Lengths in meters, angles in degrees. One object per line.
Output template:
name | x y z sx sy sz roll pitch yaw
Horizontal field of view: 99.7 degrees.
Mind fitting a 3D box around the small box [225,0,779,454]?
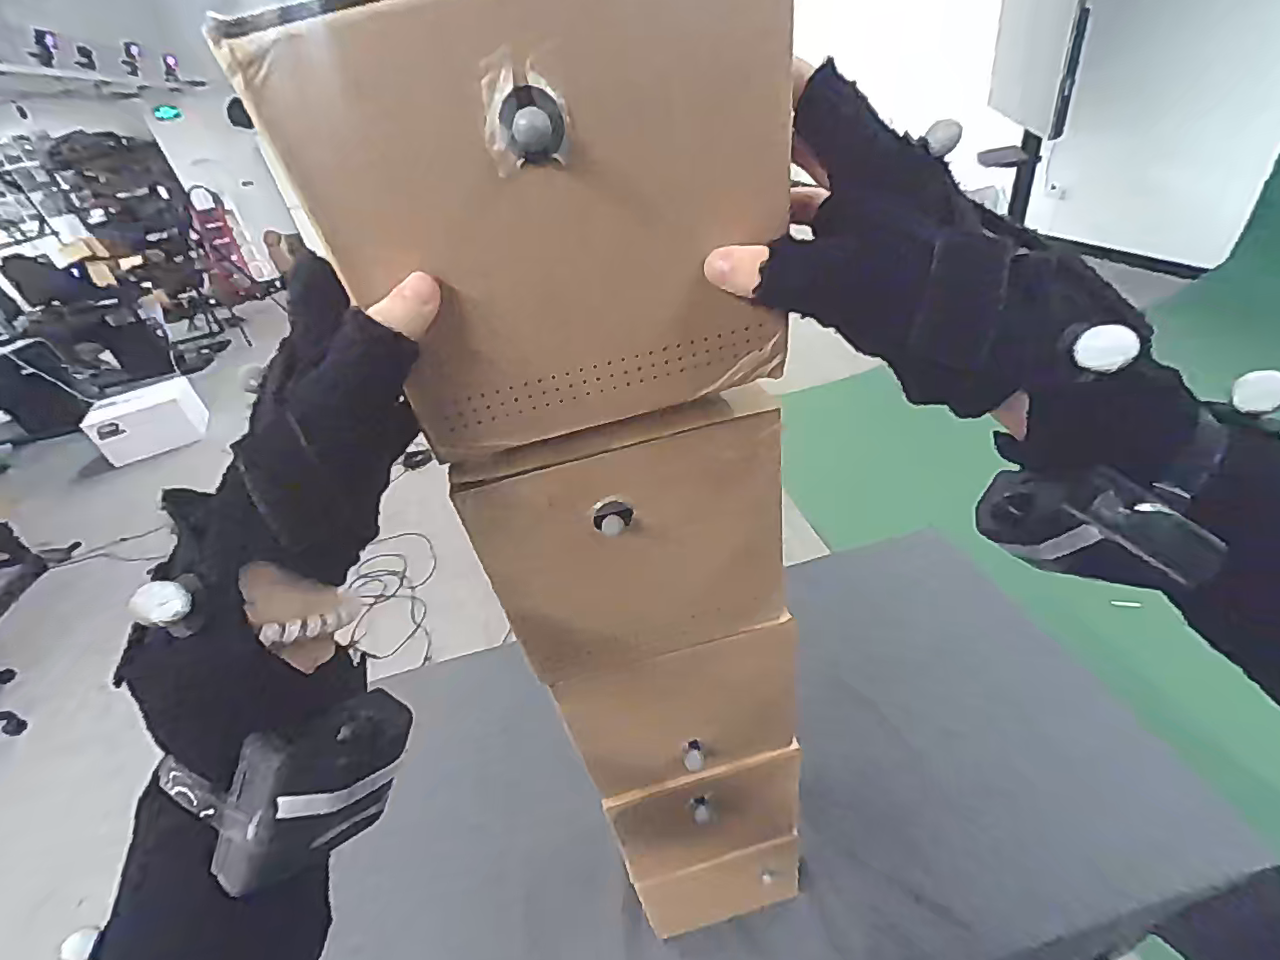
small box | -0.039 -0.134 0.272 0.179 0.176 0.168 -14 41 -2

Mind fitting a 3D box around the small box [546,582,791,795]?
small box | 0.019 0.142 0.480 0.179 0.176 0.168 -13 34 -4

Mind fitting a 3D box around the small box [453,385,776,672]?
small box | -0.014 0.009 0.389 0.179 0.176 0.168 -15 35 -5

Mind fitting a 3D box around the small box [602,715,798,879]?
small box | 0.049 0.277 0.569 0.179 0.176 0.168 -15 35 -5
